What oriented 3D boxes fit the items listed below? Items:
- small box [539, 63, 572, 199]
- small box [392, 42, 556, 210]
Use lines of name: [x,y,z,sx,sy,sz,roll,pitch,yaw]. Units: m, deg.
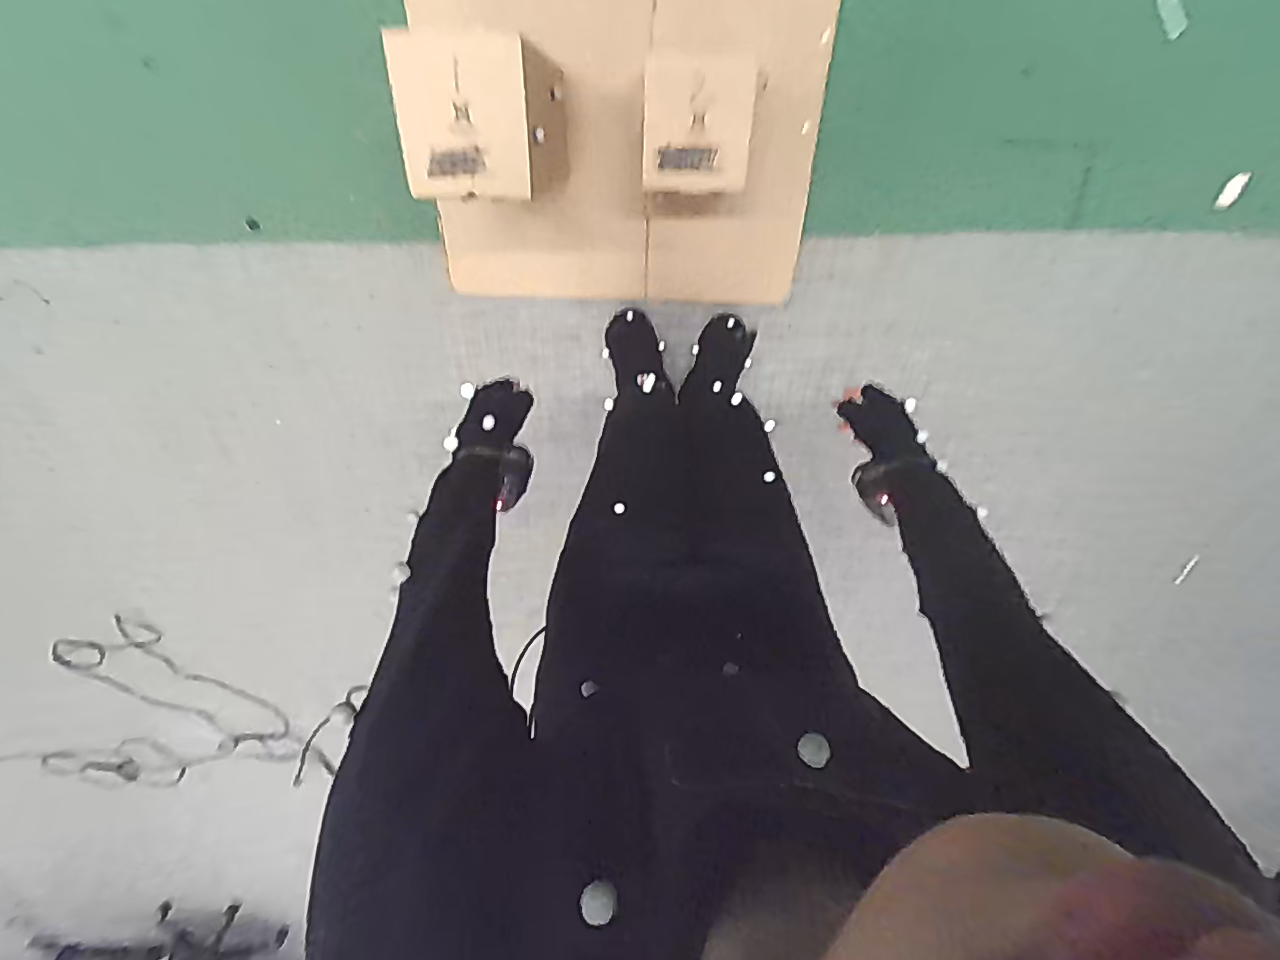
small box: [-0.208,-0.569,0.894,0.168,0.176,0.179,1,122,2]
small box: [-0.214,-0.484,0.753,0.168,0.176,0.179,2,121,1]
